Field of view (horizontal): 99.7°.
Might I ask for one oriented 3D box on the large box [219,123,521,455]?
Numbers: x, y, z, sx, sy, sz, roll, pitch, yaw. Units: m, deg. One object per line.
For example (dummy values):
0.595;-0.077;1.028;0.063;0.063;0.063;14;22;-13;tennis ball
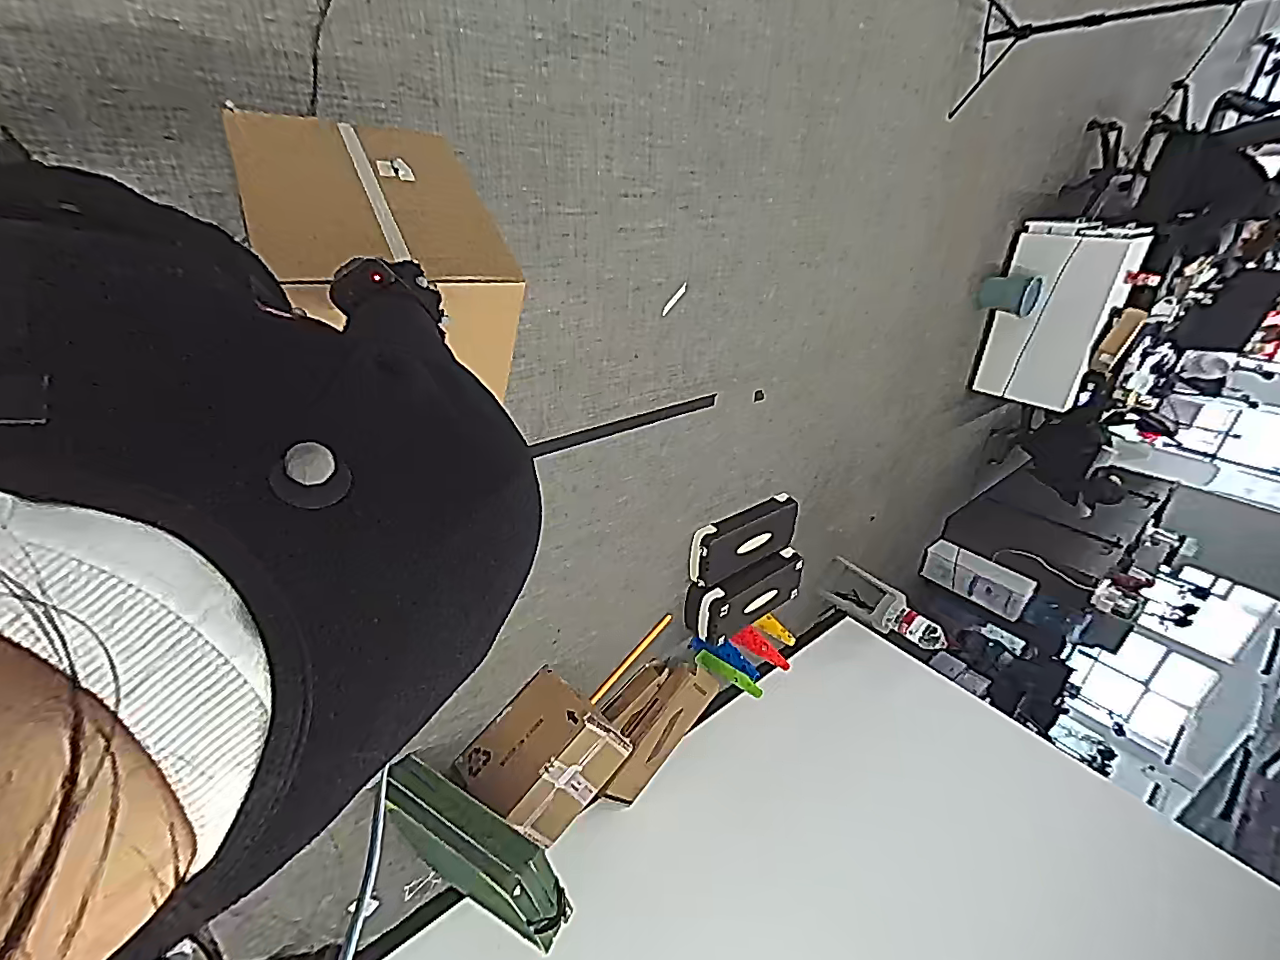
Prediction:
-0.430;-0.307;0.880;0.320;0.408;0.320;-14;148;-32;large box
